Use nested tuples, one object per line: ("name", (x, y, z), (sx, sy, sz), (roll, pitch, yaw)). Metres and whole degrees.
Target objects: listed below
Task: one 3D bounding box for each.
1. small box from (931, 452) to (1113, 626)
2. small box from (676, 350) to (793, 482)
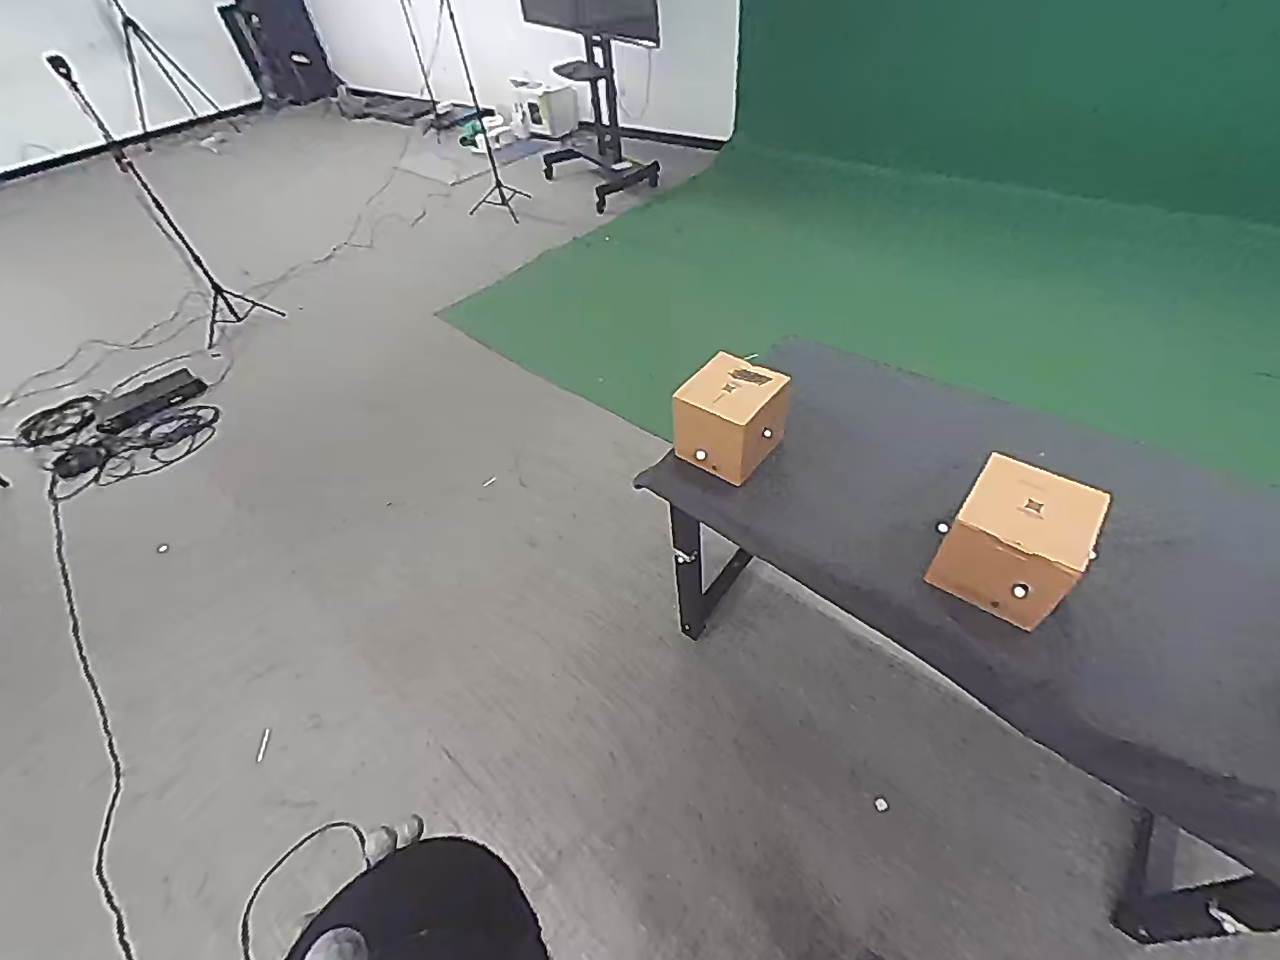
("small box", (0.586, 0.094, 0.850), (0.168, 0.176, 0.179), (29, 55, 28))
("small box", (0.187, -0.131, 1.103), (0.168, 0.176, 0.179), (29, 57, 29))
